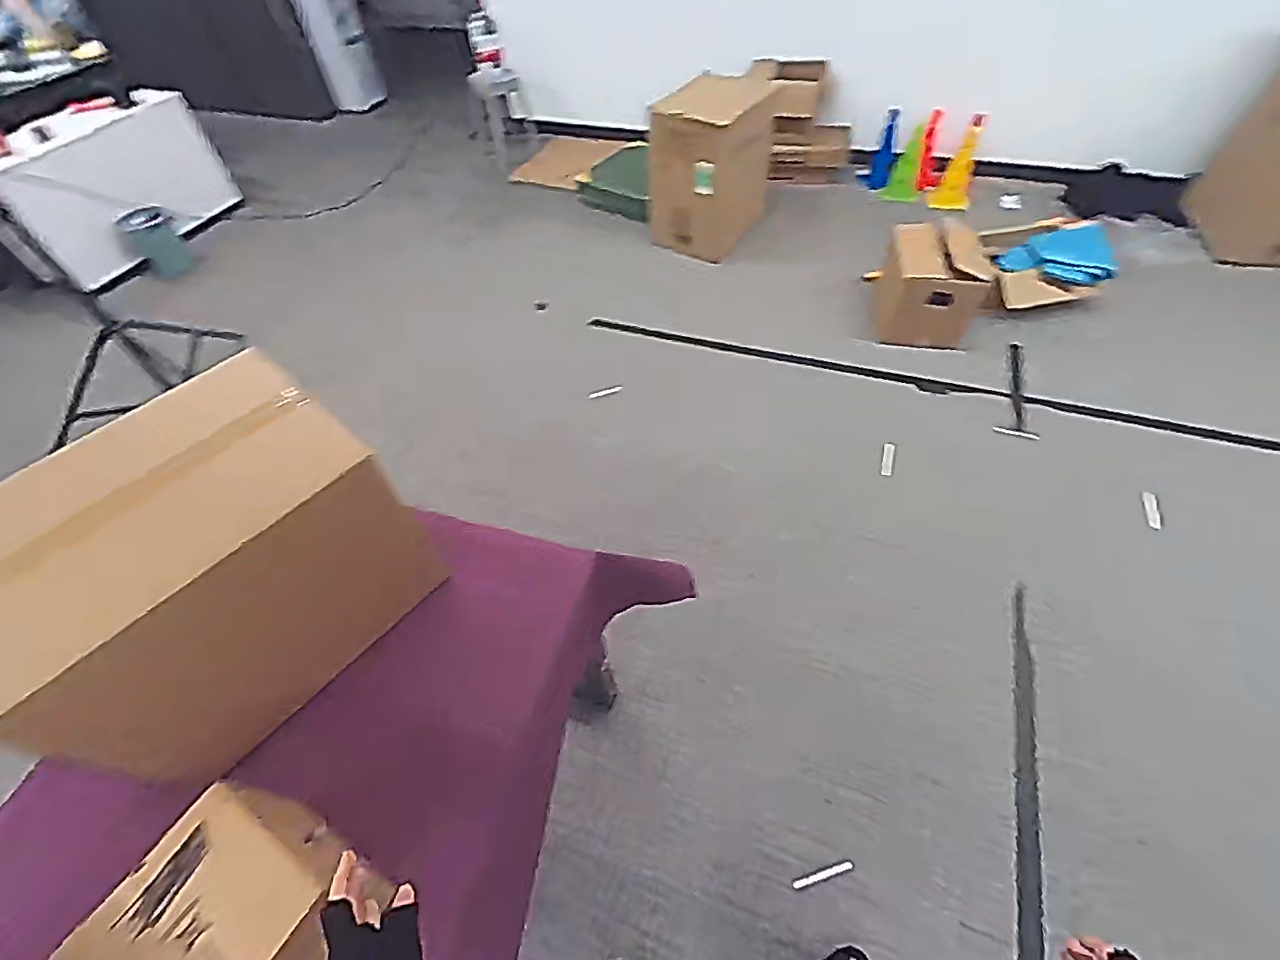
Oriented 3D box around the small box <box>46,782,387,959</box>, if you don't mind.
[{"bbox_3d":[-0.400,0.444,0.542,0.179,0.176,0.168,24,57,20],"label":"small box"}]
